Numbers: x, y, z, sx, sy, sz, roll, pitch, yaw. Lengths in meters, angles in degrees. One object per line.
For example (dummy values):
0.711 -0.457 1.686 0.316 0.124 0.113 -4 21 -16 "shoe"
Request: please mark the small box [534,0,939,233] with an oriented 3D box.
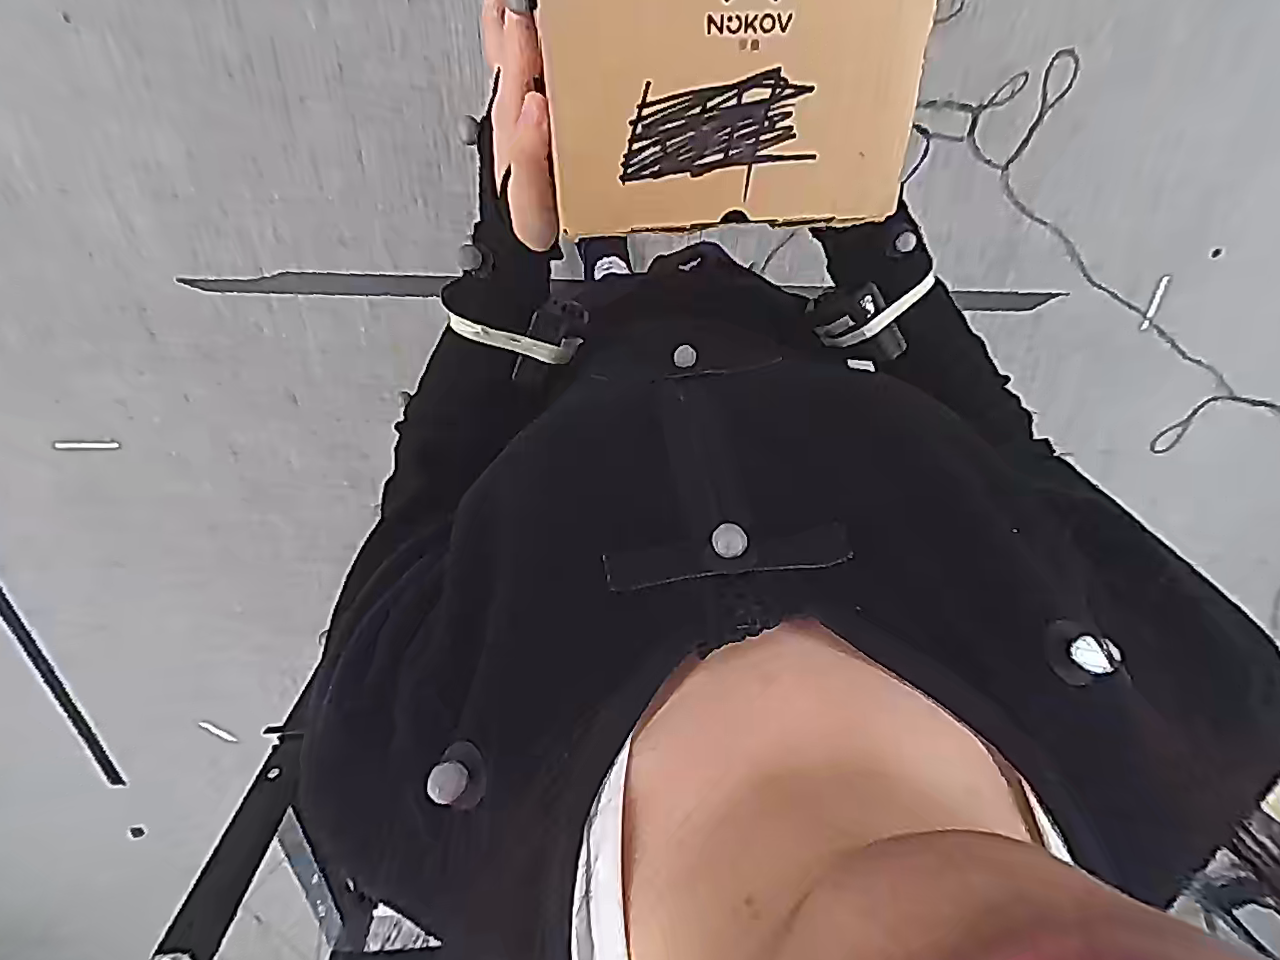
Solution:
0.031 -0.240 0.280 0.168 0.176 0.179 -7 124 -7 "small box"
